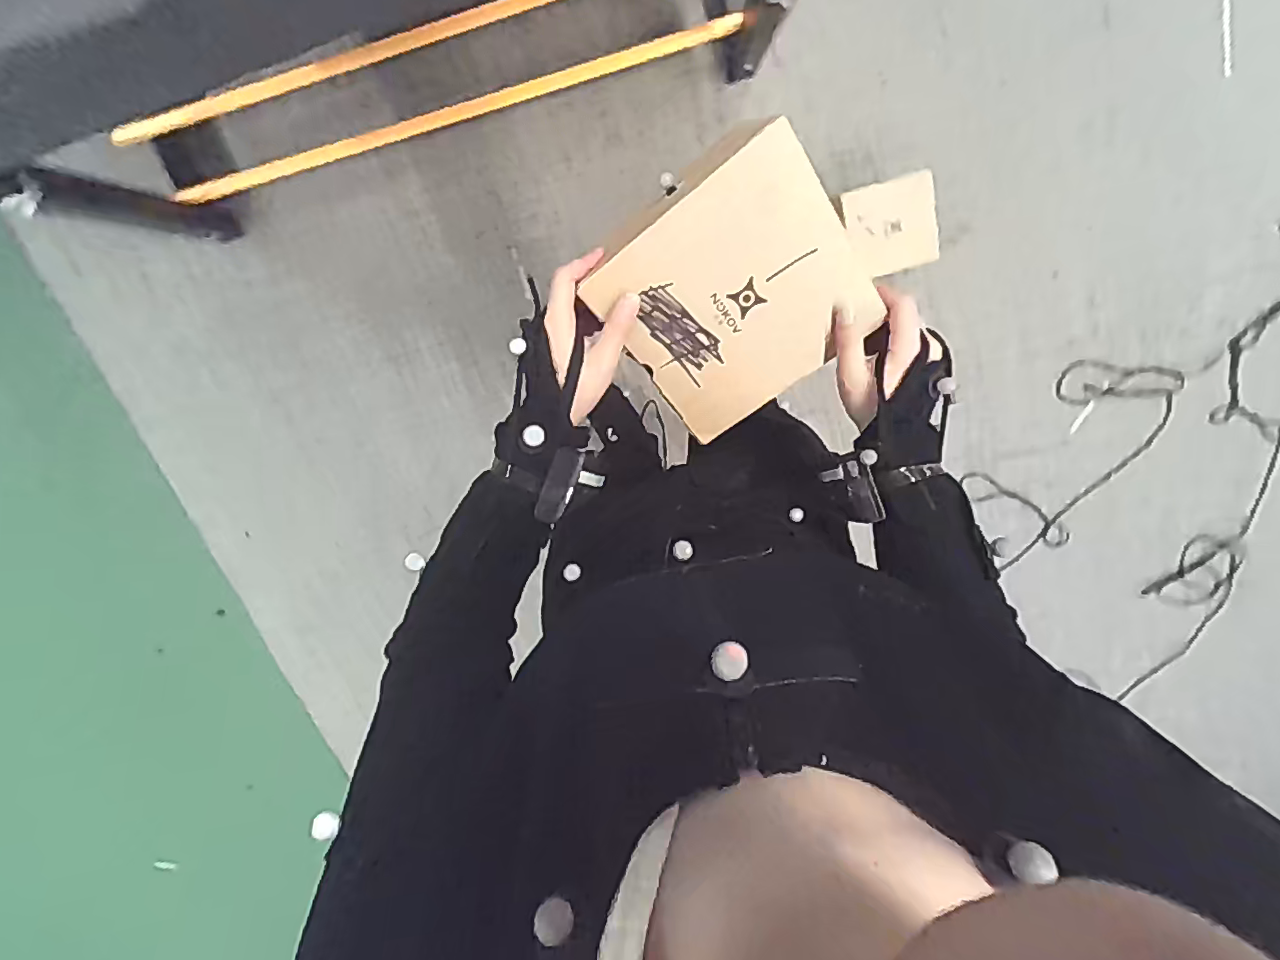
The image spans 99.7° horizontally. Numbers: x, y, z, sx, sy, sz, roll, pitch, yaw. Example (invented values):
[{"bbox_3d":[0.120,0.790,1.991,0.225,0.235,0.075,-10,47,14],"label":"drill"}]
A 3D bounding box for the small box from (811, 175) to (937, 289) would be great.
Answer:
[{"bbox_3d":[0.478,-0.503,1.120,0.179,0.176,0.168,-15,106,3],"label":"small box"}]
